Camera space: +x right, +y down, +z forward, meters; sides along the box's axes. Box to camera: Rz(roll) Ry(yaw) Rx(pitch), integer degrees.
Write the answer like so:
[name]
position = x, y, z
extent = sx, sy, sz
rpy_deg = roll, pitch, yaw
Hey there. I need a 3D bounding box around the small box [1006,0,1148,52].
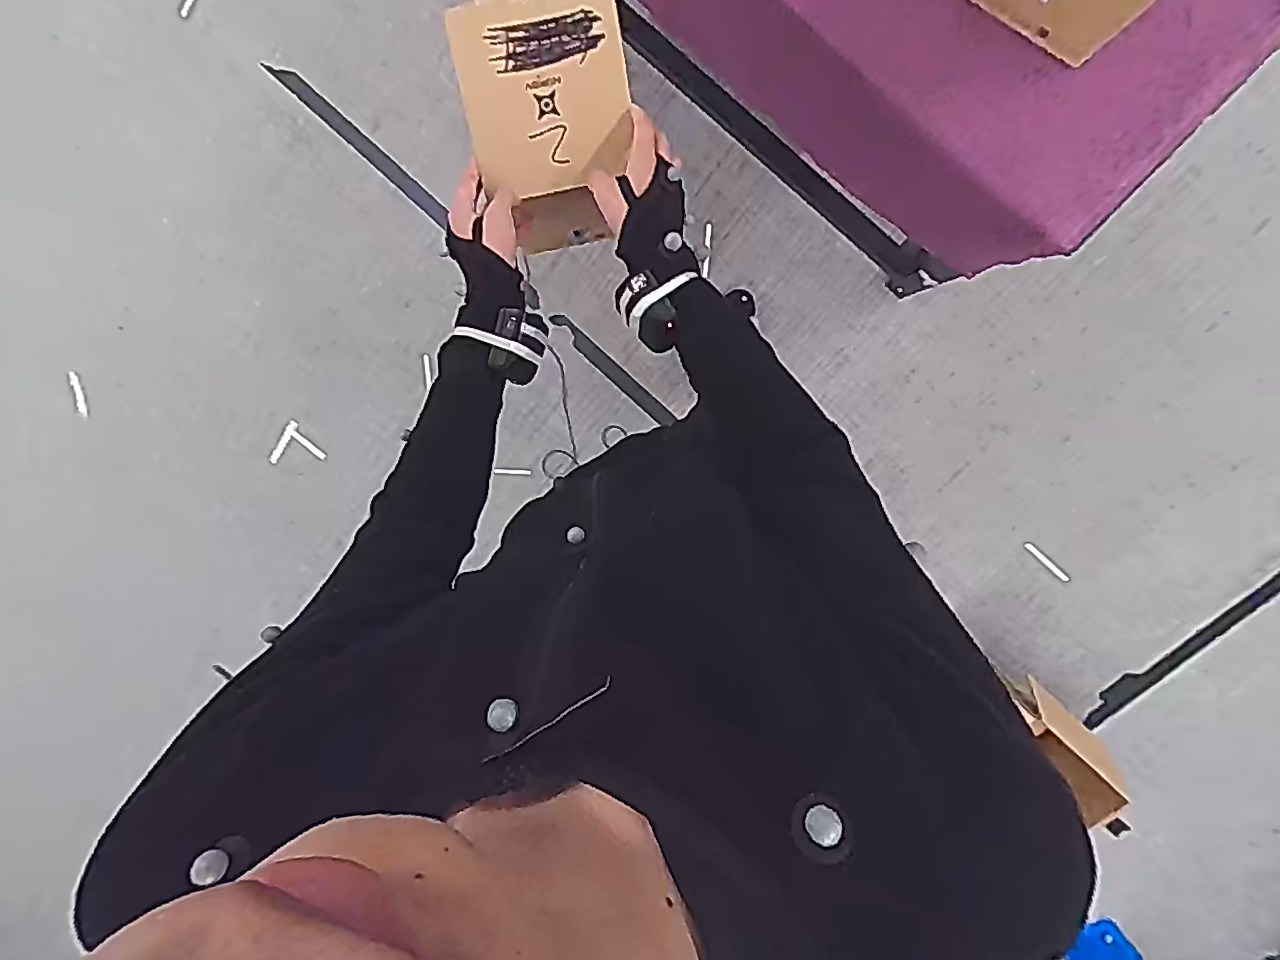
[small box]
position = 0.504, -0.604, 0.557
extent = 0.168, 0.176, 0.179
rpy_deg = 34, 105, 1
